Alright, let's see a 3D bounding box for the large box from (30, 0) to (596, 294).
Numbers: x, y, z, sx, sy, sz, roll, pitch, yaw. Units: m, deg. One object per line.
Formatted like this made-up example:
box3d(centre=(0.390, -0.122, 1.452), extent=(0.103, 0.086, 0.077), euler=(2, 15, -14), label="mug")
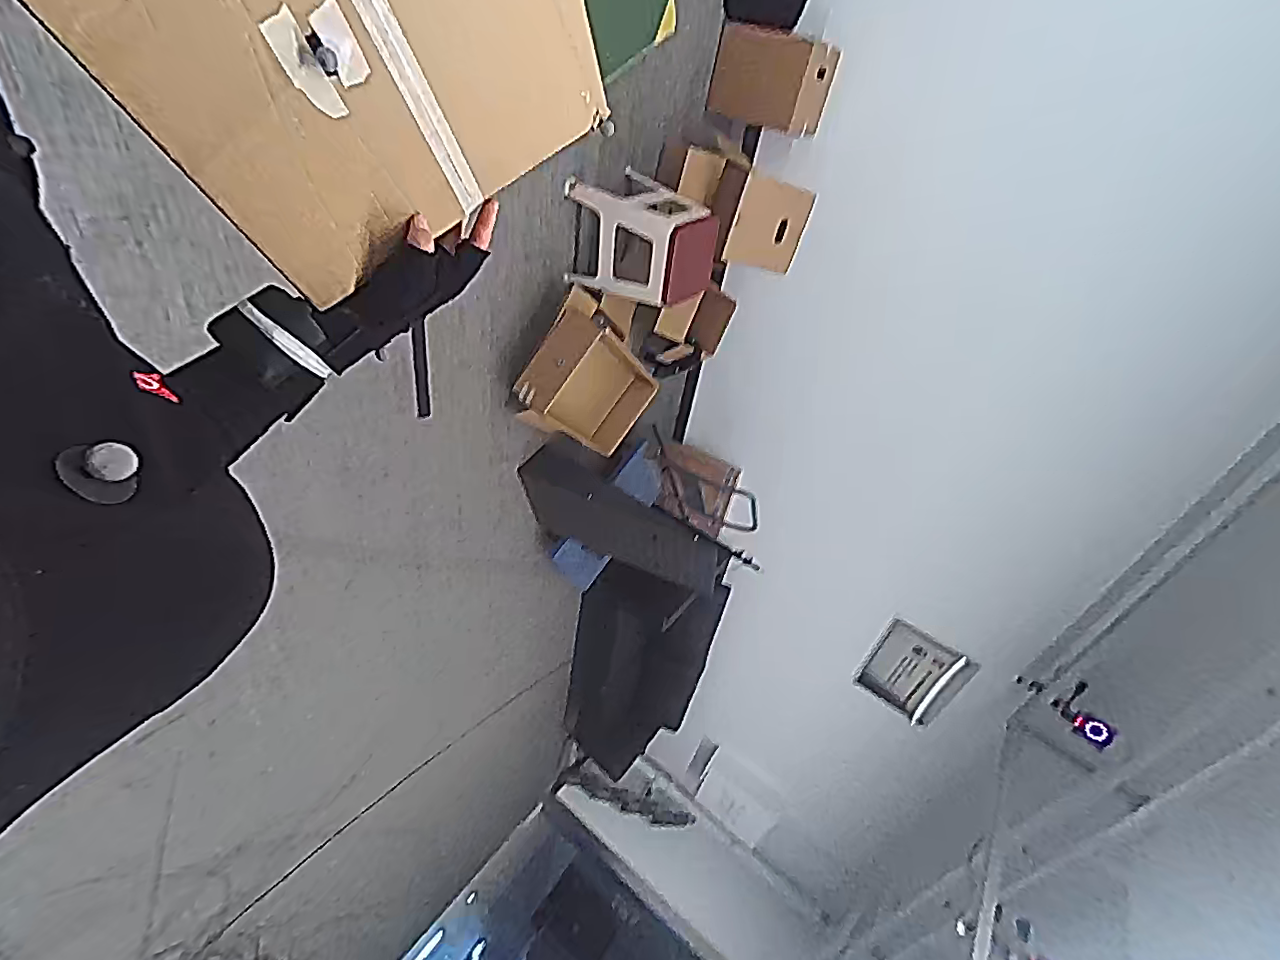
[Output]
box3d(centre=(-0.287, -0.430, 0.373), extent=(0.320, 0.320, 0.408), euler=(-40, 152, -10), label="large box")
